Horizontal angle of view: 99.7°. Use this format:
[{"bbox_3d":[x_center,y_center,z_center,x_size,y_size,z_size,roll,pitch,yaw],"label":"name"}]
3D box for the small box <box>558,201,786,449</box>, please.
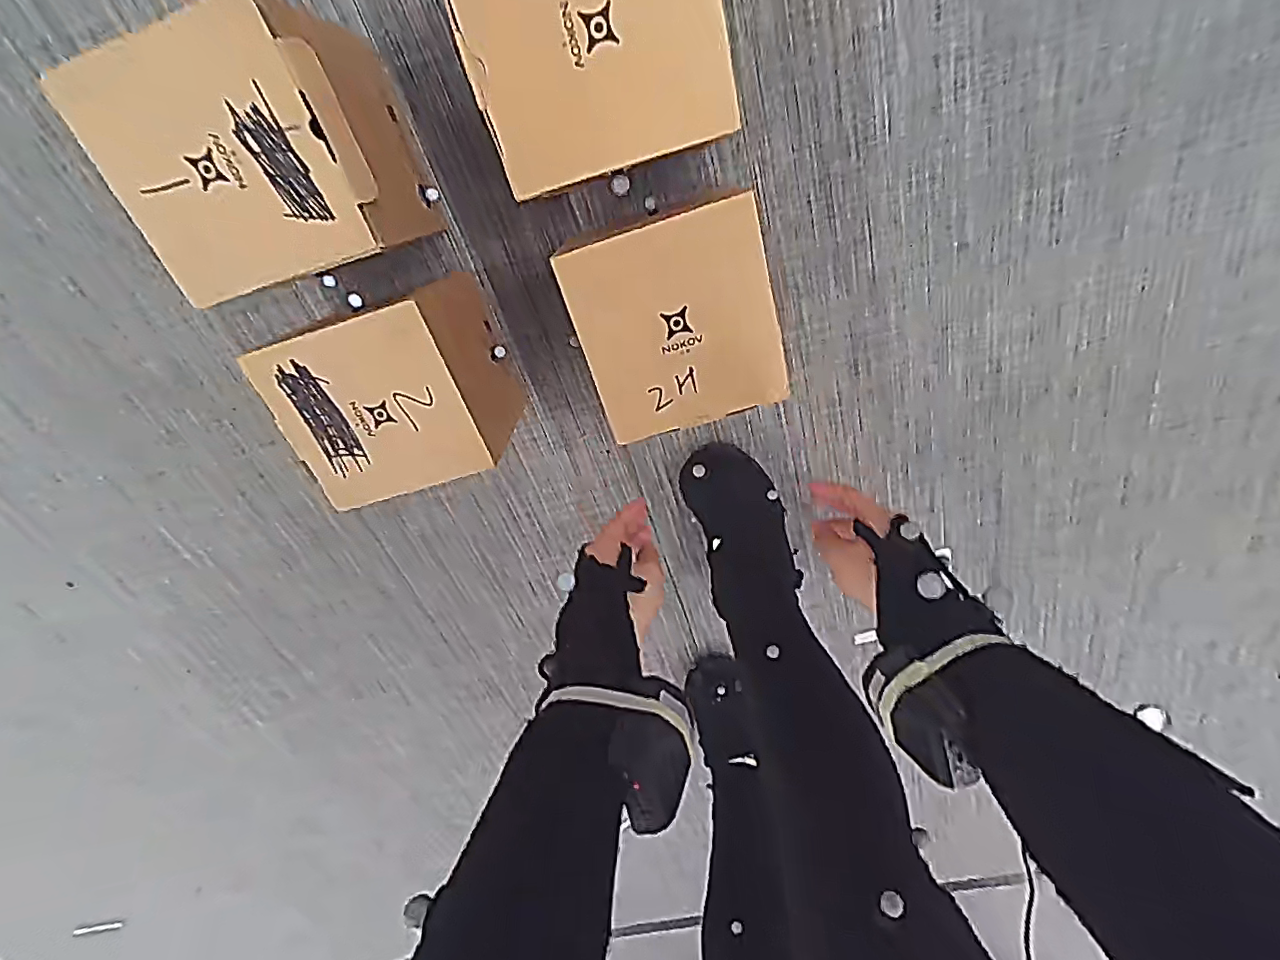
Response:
[{"bbox_3d":[0.031,-0.159,0.535,0.168,0.176,0.179,-15,119,8],"label":"small box"}]
